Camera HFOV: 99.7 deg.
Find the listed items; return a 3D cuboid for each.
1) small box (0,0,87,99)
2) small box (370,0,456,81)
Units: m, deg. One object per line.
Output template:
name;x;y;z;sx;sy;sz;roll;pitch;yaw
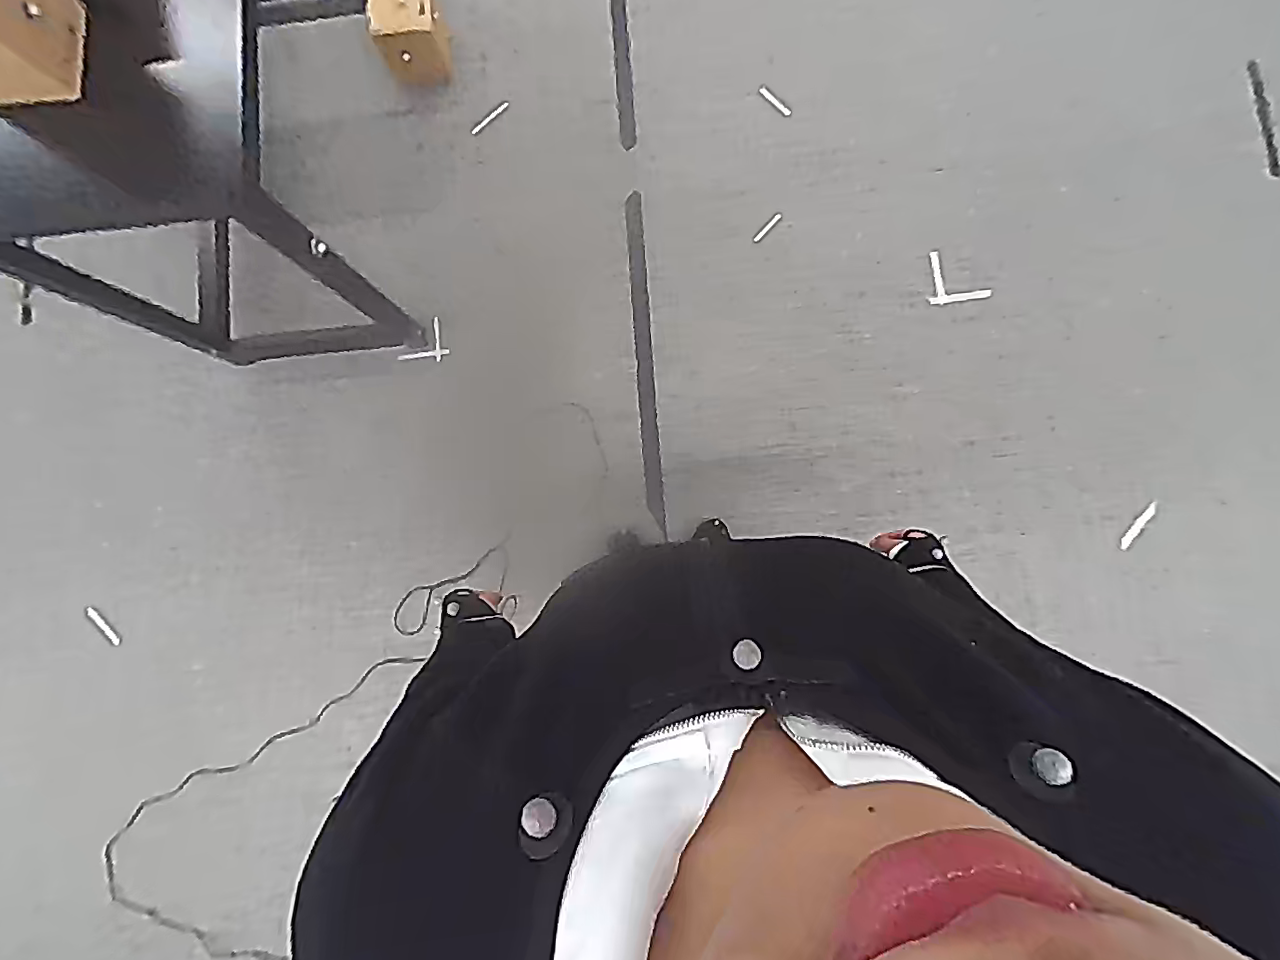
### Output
small box;-0.999;-0.712;0.813;0.179;0.176;0.168;-2;84;2
small box;-0.661;-1.312;1.583;0.179;0.176;0.168;-6;86;2
